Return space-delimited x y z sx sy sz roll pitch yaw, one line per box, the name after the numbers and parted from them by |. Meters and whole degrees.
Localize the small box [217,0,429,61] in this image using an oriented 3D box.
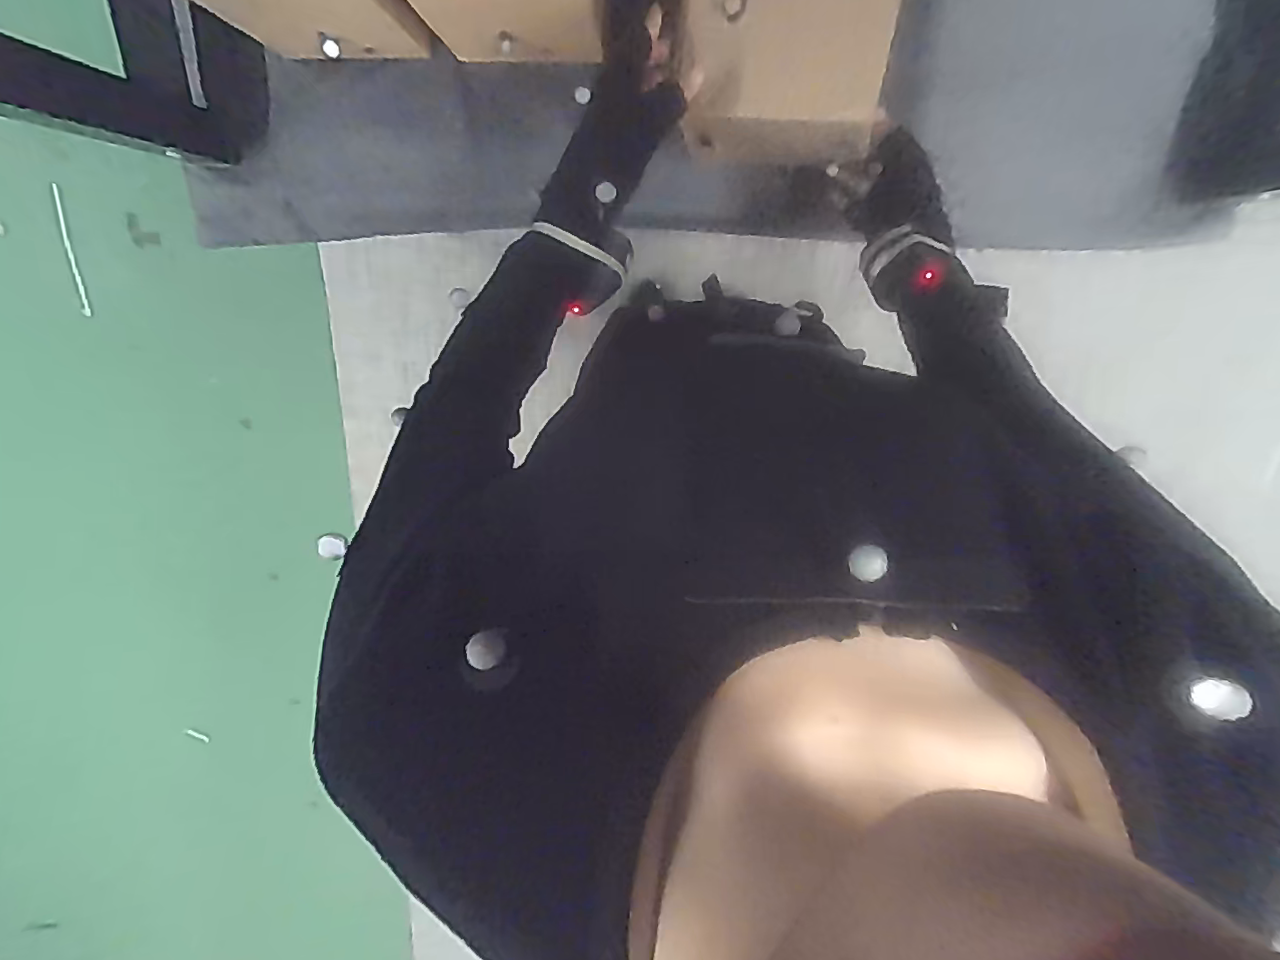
-0.311 -0.520 0.490 0.168 0.176 0.179 2 110 3 | small box
